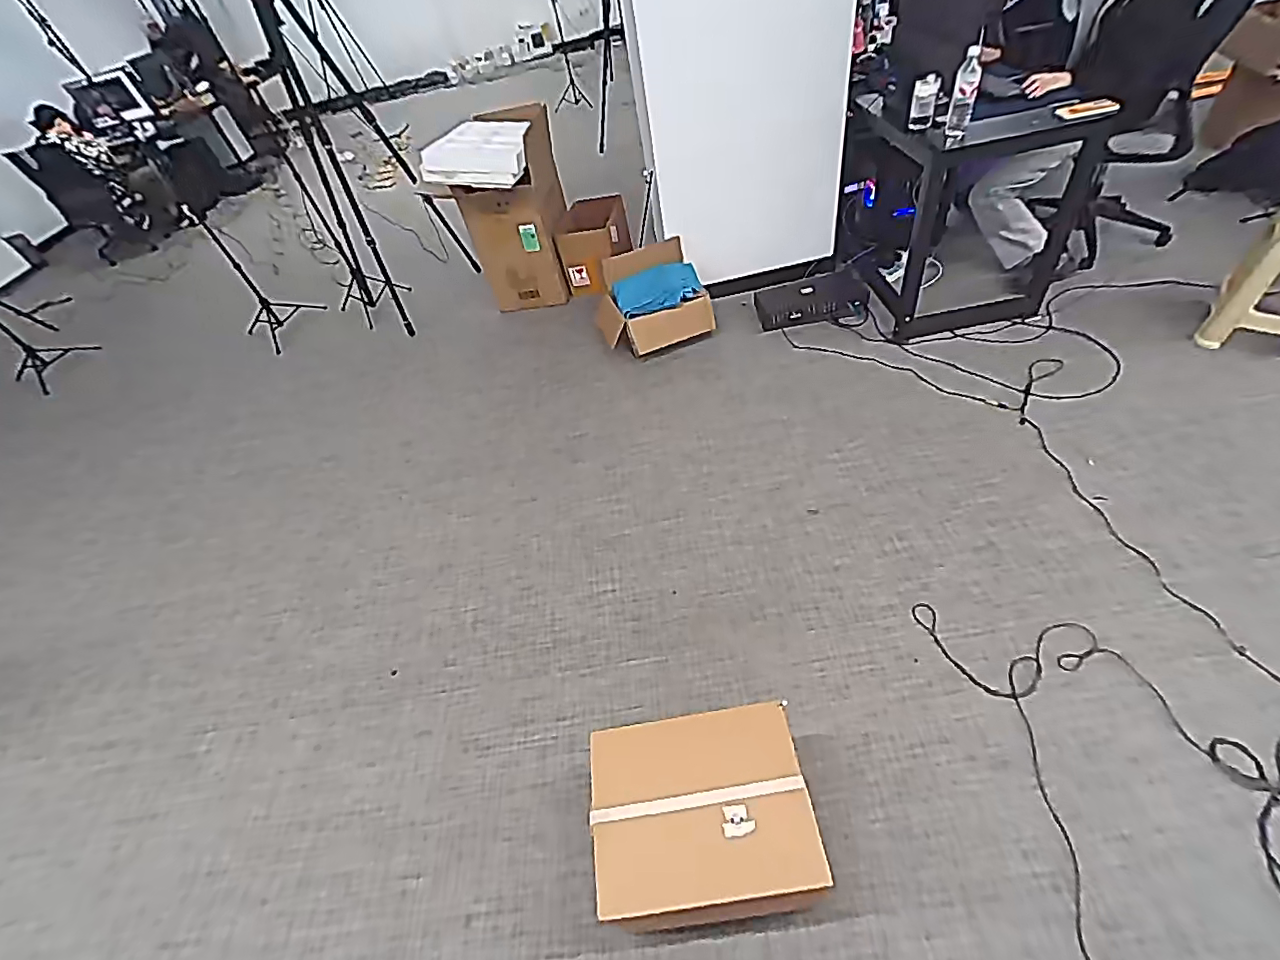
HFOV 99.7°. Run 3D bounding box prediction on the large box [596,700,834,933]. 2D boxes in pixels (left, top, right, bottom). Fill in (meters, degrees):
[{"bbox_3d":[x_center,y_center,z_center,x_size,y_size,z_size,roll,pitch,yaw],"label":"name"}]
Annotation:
[{"bbox_3d":[0.142,0.702,1.124,0.408,0.320,0.320,-11,46,3],"label":"large box"}]
